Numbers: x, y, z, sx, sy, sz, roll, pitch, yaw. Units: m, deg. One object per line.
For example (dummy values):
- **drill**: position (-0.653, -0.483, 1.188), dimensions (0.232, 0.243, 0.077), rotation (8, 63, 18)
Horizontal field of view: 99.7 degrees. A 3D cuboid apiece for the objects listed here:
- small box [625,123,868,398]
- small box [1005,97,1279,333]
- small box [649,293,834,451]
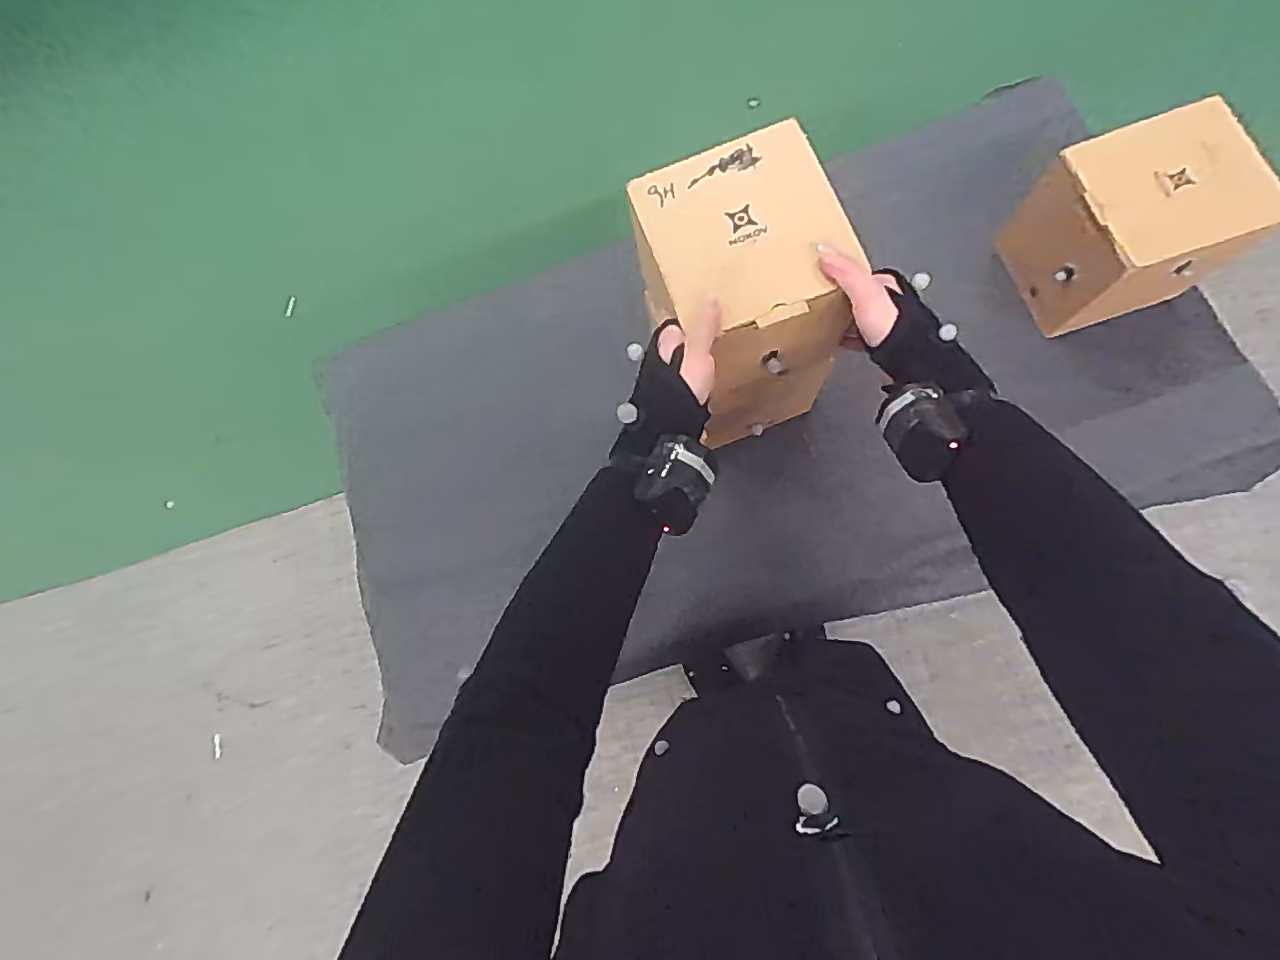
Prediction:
- **small box**: position (0.100, -0.200, 0.548), dimensions (0.168, 0.176, 0.179), rotation (-20, 76, 3)
- **small box**: position (0.592, -0.308, 0.664), dimensions (0.179, 0.176, 0.168), rotation (-18, 76, 4)
- **small box**: position (0.123, -0.160, 0.704), dimensions (0.168, 0.176, 0.179), rotation (-22, 76, 3)
